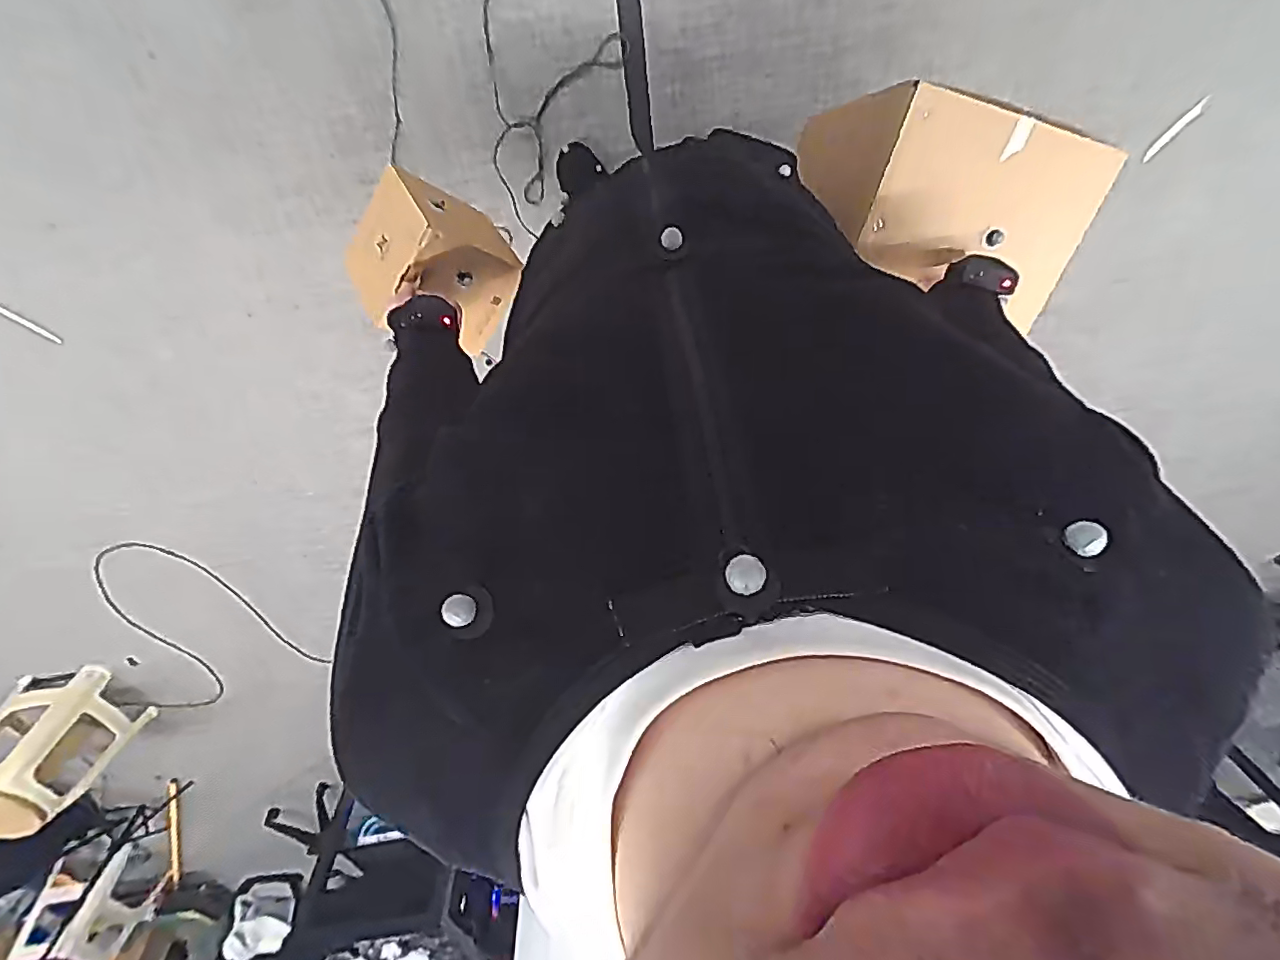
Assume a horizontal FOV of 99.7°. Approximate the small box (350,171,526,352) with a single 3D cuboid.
[{"bbox_3d":[-0.304,-0.316,0.821,0.168,0.179,0.176,-47,150,24],"label":"small box"}]
